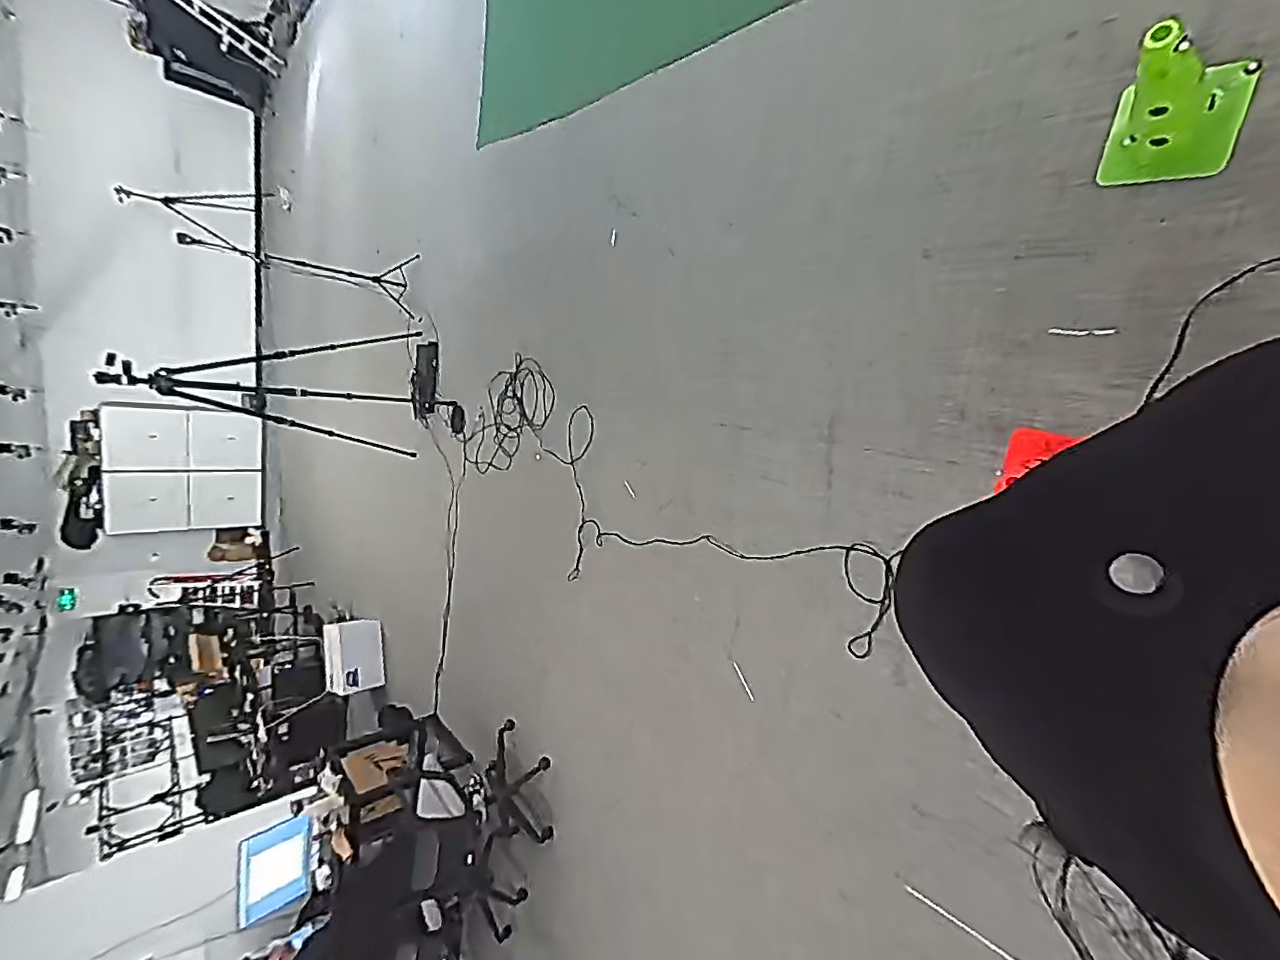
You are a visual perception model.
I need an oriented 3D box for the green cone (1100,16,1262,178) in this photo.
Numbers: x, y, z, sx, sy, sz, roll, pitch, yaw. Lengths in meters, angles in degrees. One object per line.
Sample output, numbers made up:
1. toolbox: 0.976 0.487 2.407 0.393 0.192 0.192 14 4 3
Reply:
1. green cone: 0.940 -0.713 0.962 0.200 0.368 0.202 20 107 45
